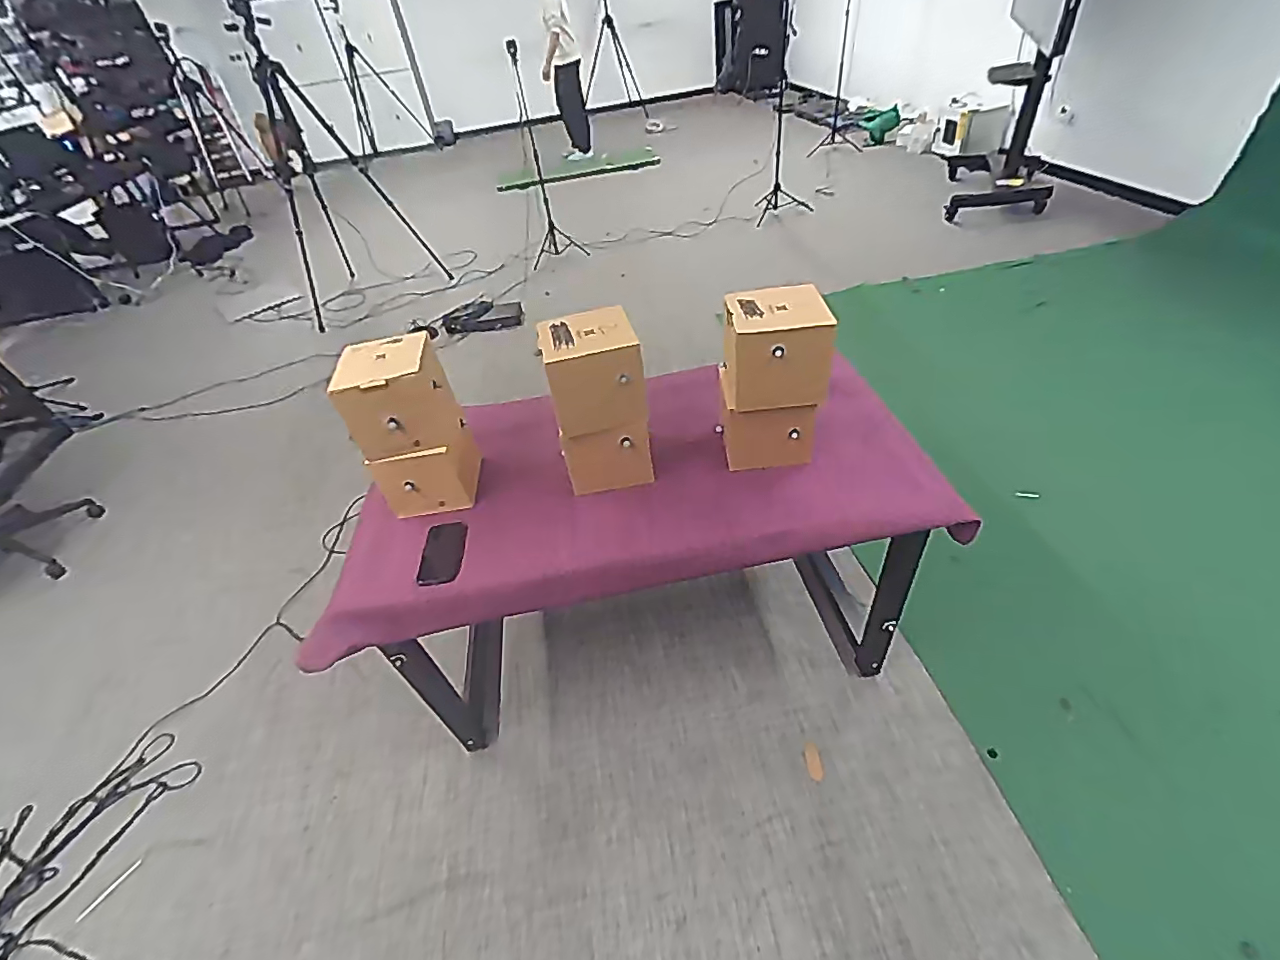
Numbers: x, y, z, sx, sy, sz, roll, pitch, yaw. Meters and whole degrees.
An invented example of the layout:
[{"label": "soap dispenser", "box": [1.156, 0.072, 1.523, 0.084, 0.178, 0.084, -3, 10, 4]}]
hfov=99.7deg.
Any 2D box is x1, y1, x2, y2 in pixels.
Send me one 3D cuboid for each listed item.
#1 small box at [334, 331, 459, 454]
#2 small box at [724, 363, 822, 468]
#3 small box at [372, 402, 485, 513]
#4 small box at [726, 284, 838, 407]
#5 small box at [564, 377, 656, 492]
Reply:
[{"label": "small box", "box": [-0.472, -0.168, 1.081, 0.168, 0.176, 0.179, -12, 43, -4]}, {"label": "small box", "box": [0.274, -0.144, 1.157, 0.179, 0.176, 0.168, -6, 42, 5]}, {"label": "small box", "box": [-0.450, -0.044, 1.186, 0.168, 0.176, 0.179, -9, 42, 1]}, {"label": "small box", "box": [0.264, -0.254, 1.036, 0.179, 0.176, 0.168, -5, 42, 4]}, {"label": "small box", "box": [-0.063, -0.097, 1.168, 0.179, 0.176, 0.168, -10, 42, 0]}]
